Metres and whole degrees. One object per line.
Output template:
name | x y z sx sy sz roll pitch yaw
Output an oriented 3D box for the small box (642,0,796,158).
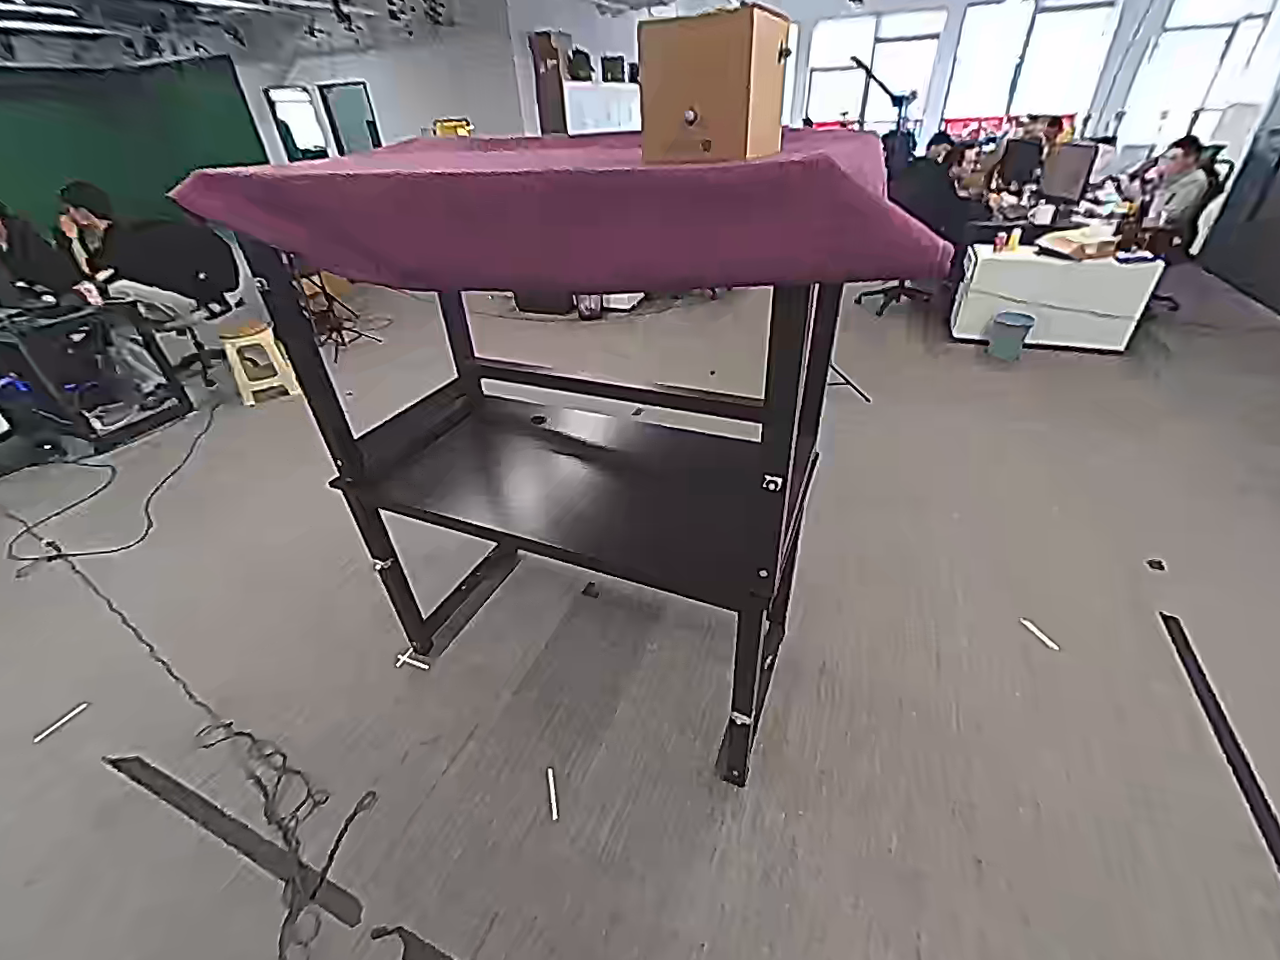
small box | 0.115 -0.573 0.785 0.168 0.176 0.179 14 38 24
